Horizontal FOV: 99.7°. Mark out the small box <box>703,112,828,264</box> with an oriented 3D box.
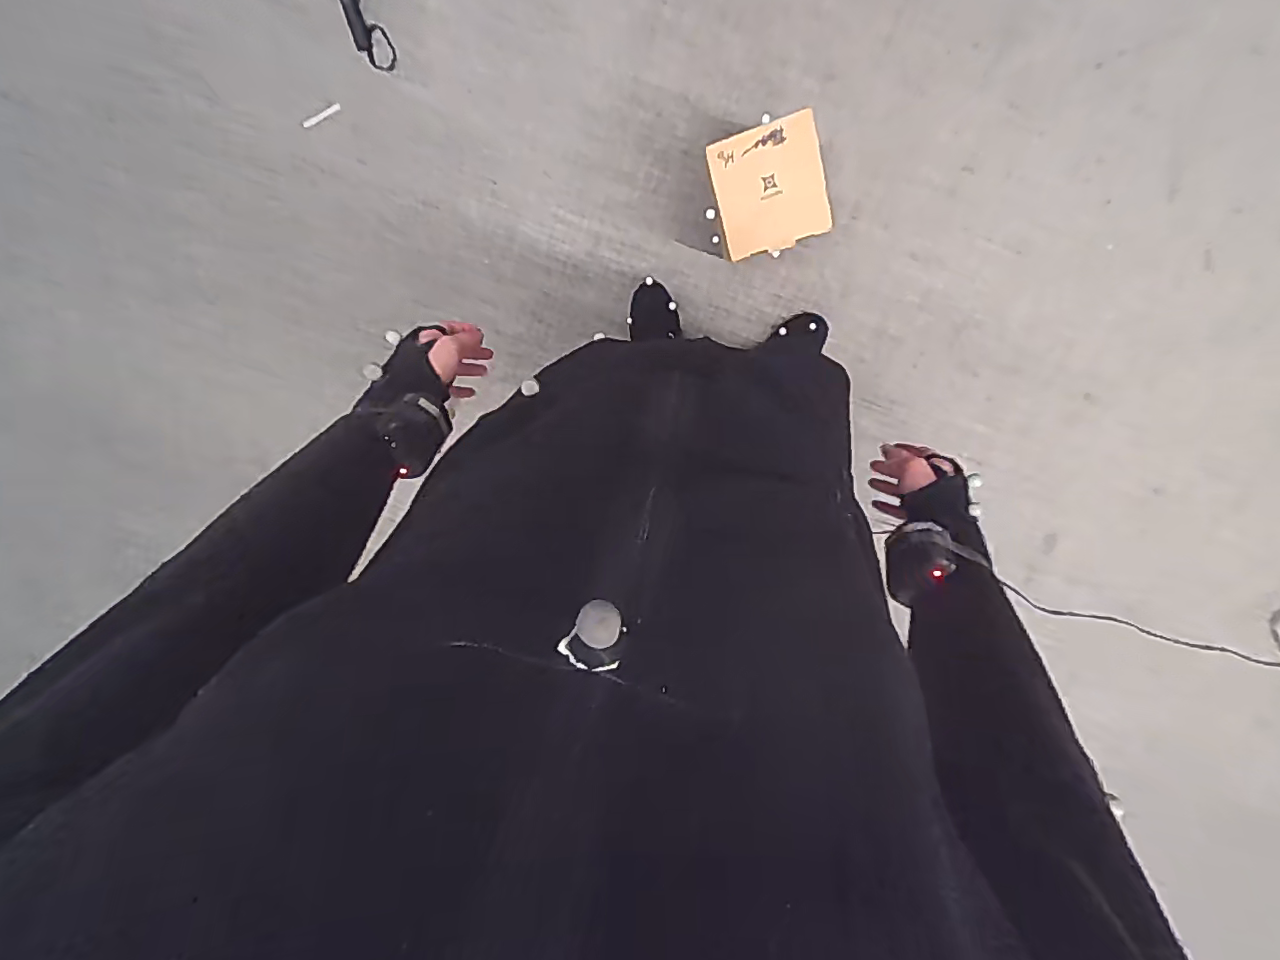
[{"bbox_3d":[0.208,-0.486,0.920,0.168,0.176,0.179,-15,112,11],"label":"small box"}]
